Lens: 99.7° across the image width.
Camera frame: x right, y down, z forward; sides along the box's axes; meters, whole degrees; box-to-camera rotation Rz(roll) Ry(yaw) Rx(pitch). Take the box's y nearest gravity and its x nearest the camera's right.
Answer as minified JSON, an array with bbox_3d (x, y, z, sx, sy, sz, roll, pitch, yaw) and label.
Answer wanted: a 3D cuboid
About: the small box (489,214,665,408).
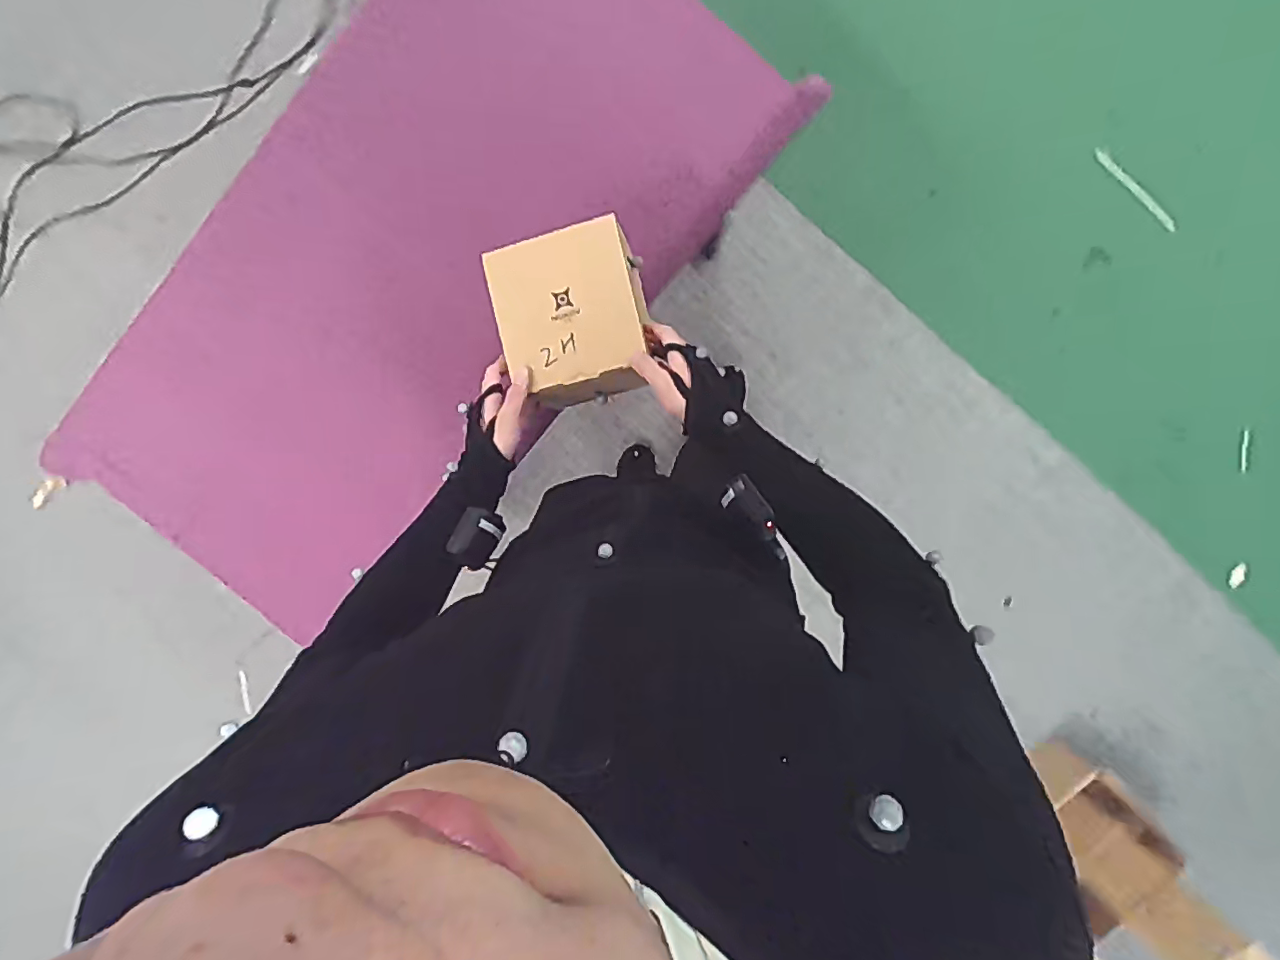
[{"bbox_3d":[-0.069,-0.200,0.693,0.168,0.176,0.179,-12,90,9],"label":"small box"}]

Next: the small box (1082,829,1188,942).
[{"bbox_3d":[1.308,1.052,1.384,0.179,0.176,0.168,44,95,-4],"label":"small box"}]
